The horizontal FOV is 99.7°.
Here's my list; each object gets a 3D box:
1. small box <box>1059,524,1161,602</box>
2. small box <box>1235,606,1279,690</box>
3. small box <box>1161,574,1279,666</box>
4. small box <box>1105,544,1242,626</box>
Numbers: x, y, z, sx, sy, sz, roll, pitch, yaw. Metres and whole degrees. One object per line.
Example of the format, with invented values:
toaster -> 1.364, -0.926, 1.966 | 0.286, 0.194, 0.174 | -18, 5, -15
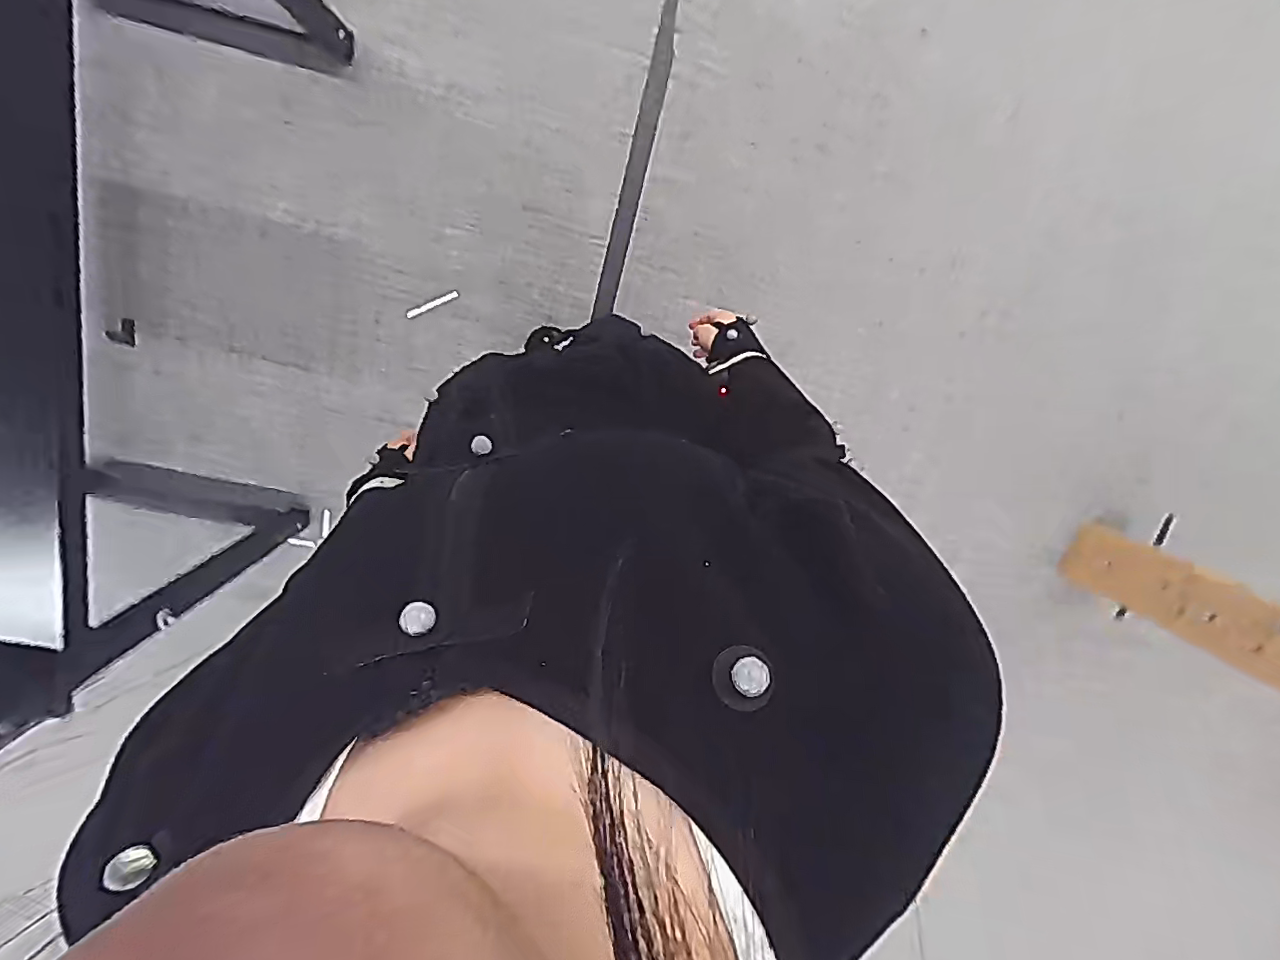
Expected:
small box -> 1.412, 0.254, 1.616 | 0.168, 0.176, 0.179 | 12, 104, -7
small box -> 1.449, 0.386, 1.144 | 0.179, 0.176, 0.168 | 13, 104, -9
small box -> 1.435, 0.344, 1.302 | 0.179, 0.176, 0.168 | 14, 104, -7
small box -> 1.422, 0.291, 1.456 | 0.168, 0.176, 0.179 | 15, 104, -7
